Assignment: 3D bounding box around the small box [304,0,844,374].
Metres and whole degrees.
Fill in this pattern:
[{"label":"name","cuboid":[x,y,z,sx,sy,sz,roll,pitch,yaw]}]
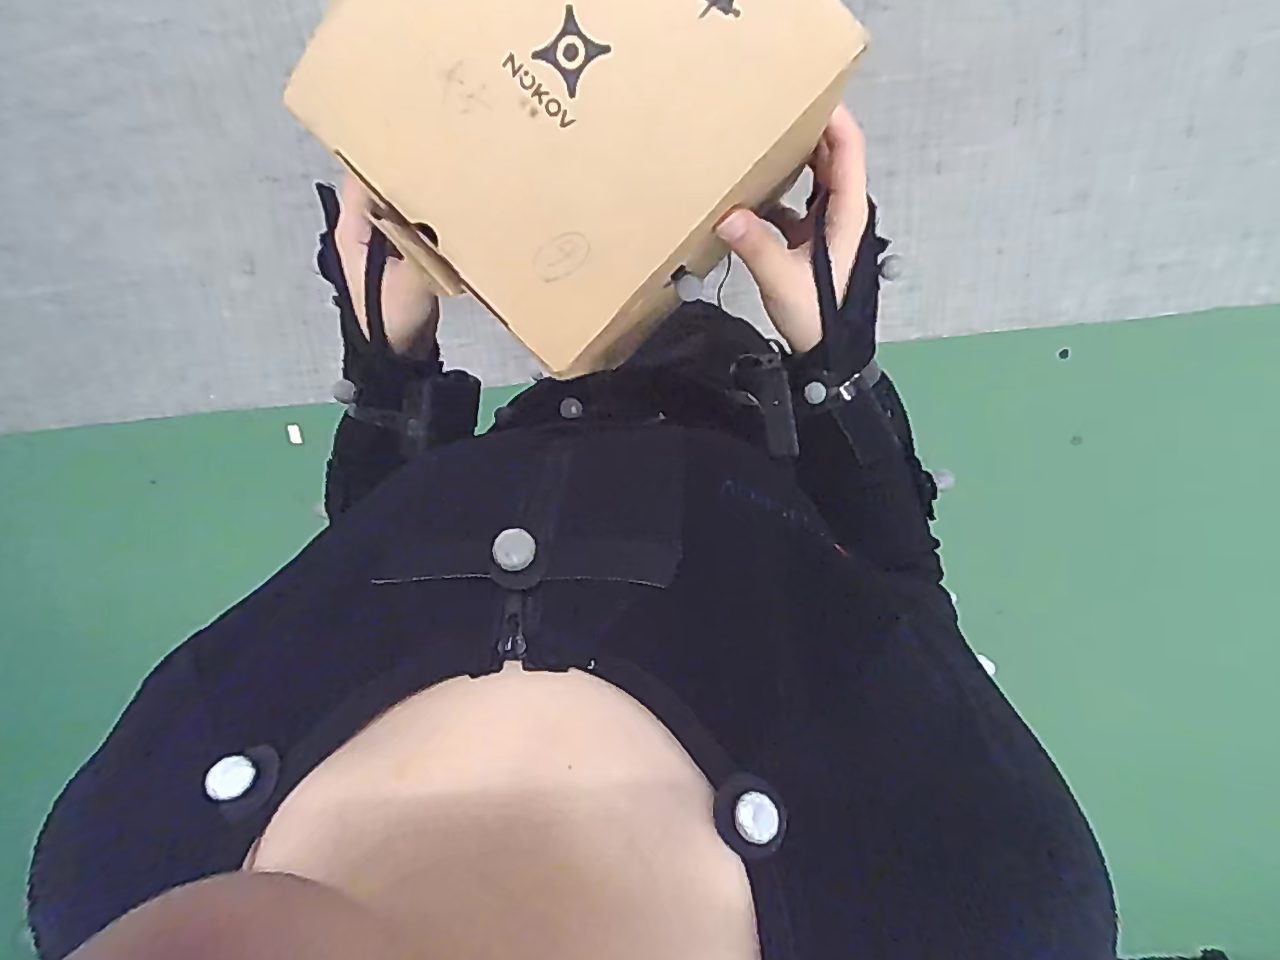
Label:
[{"label":"small box","cuboid":[-0.024,-0.178,0.300,0.168,0.176,0.179,45,104,-4]}]
